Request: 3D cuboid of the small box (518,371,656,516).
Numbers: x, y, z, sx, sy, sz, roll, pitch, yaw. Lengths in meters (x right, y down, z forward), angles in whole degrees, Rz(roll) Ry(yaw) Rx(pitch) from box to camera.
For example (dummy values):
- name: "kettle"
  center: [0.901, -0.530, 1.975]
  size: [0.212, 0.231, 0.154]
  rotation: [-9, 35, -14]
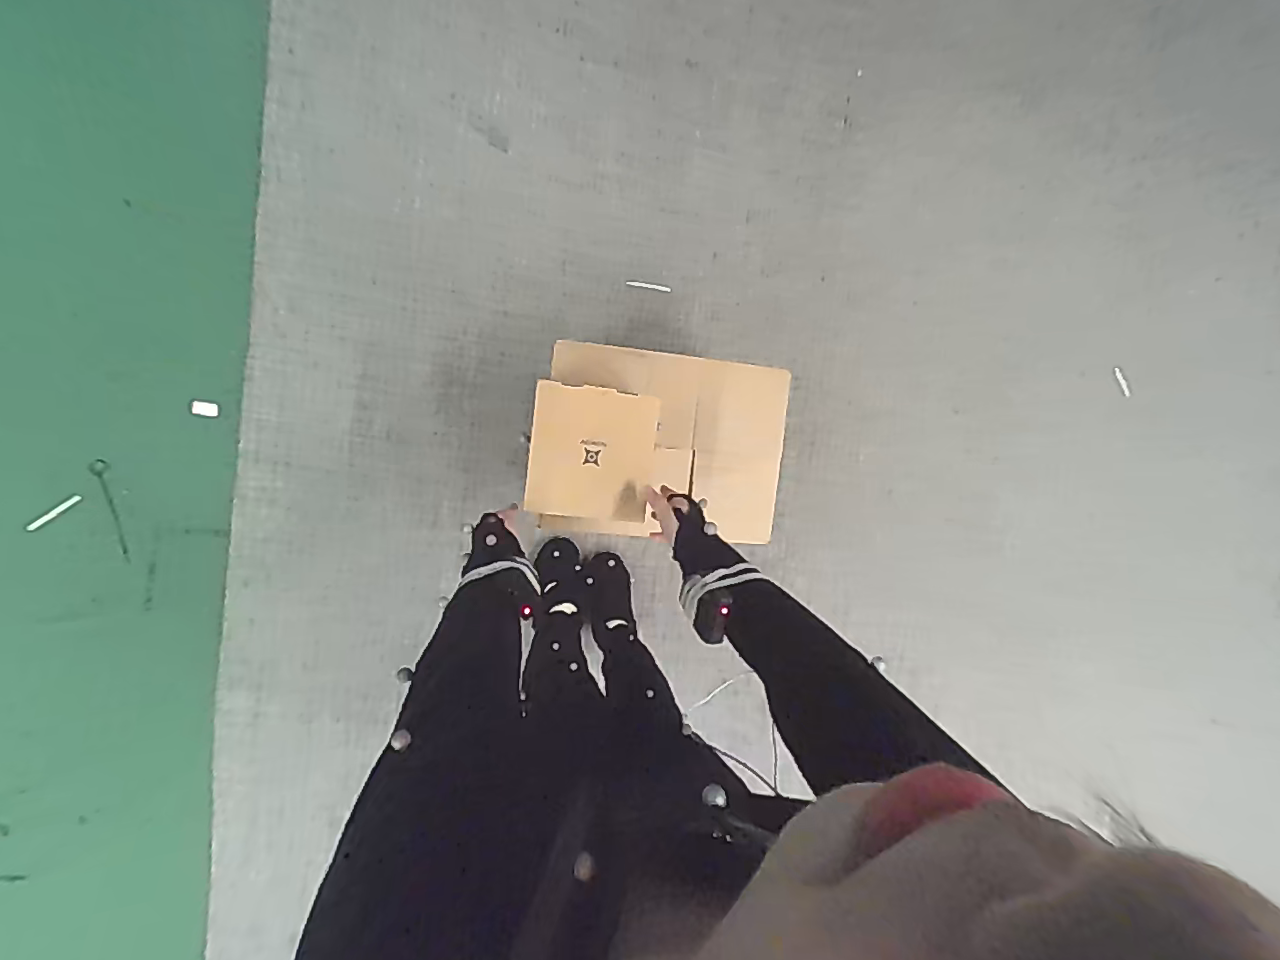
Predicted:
- name: "small box"
  center: [-0.083, -0.055, 0.793]
  size: [0.168, 0.176, 0.179]
  rotation: [7, 96, -11]
